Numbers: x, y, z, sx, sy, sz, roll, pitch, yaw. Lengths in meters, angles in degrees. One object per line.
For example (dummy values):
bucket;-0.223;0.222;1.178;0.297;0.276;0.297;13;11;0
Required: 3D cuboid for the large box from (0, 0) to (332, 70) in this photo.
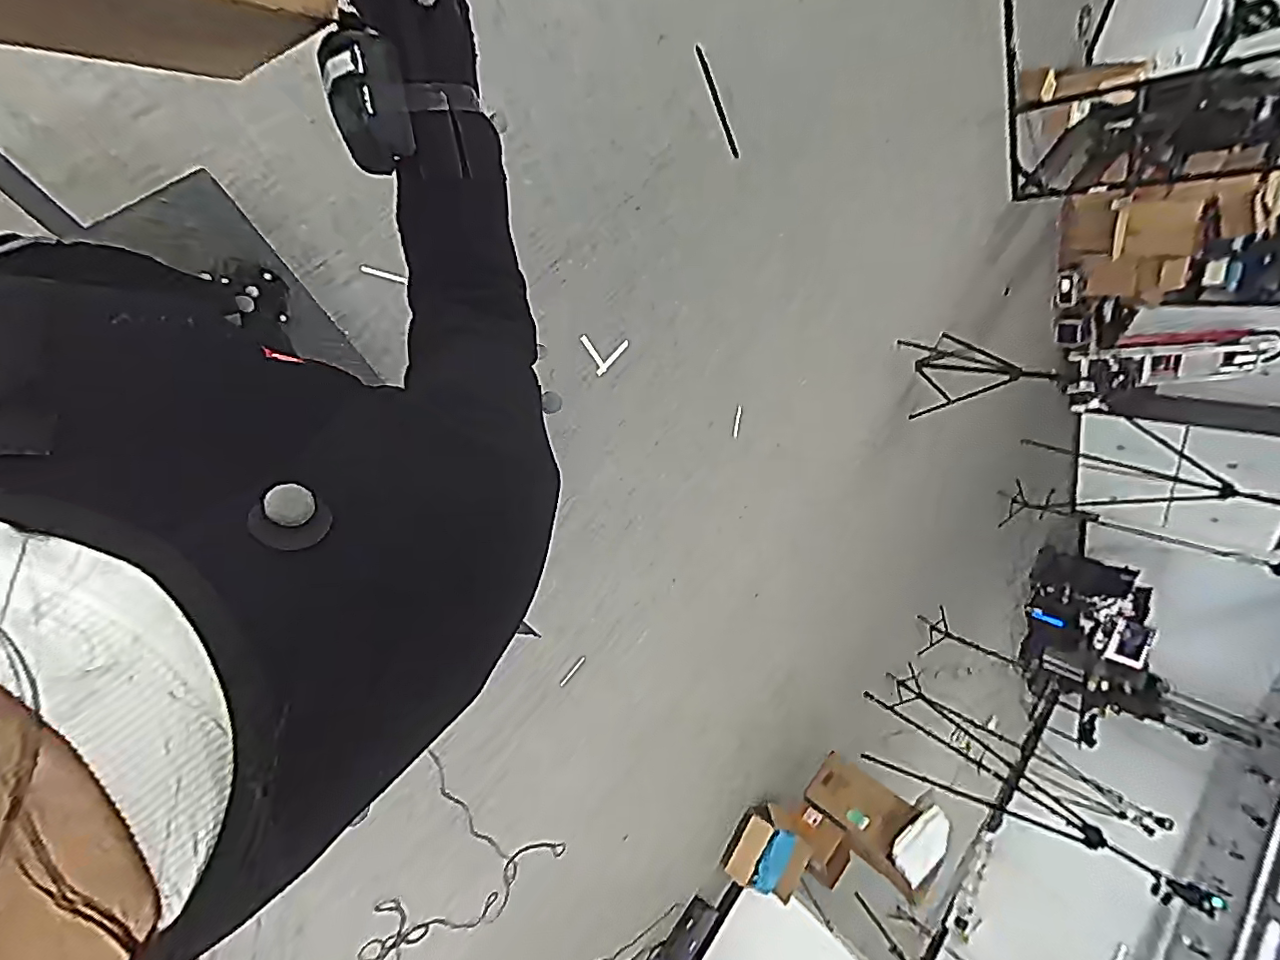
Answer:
large box;-0.415;-0.403;0.217;0.408;0.320;0.320;-20;126;-38
